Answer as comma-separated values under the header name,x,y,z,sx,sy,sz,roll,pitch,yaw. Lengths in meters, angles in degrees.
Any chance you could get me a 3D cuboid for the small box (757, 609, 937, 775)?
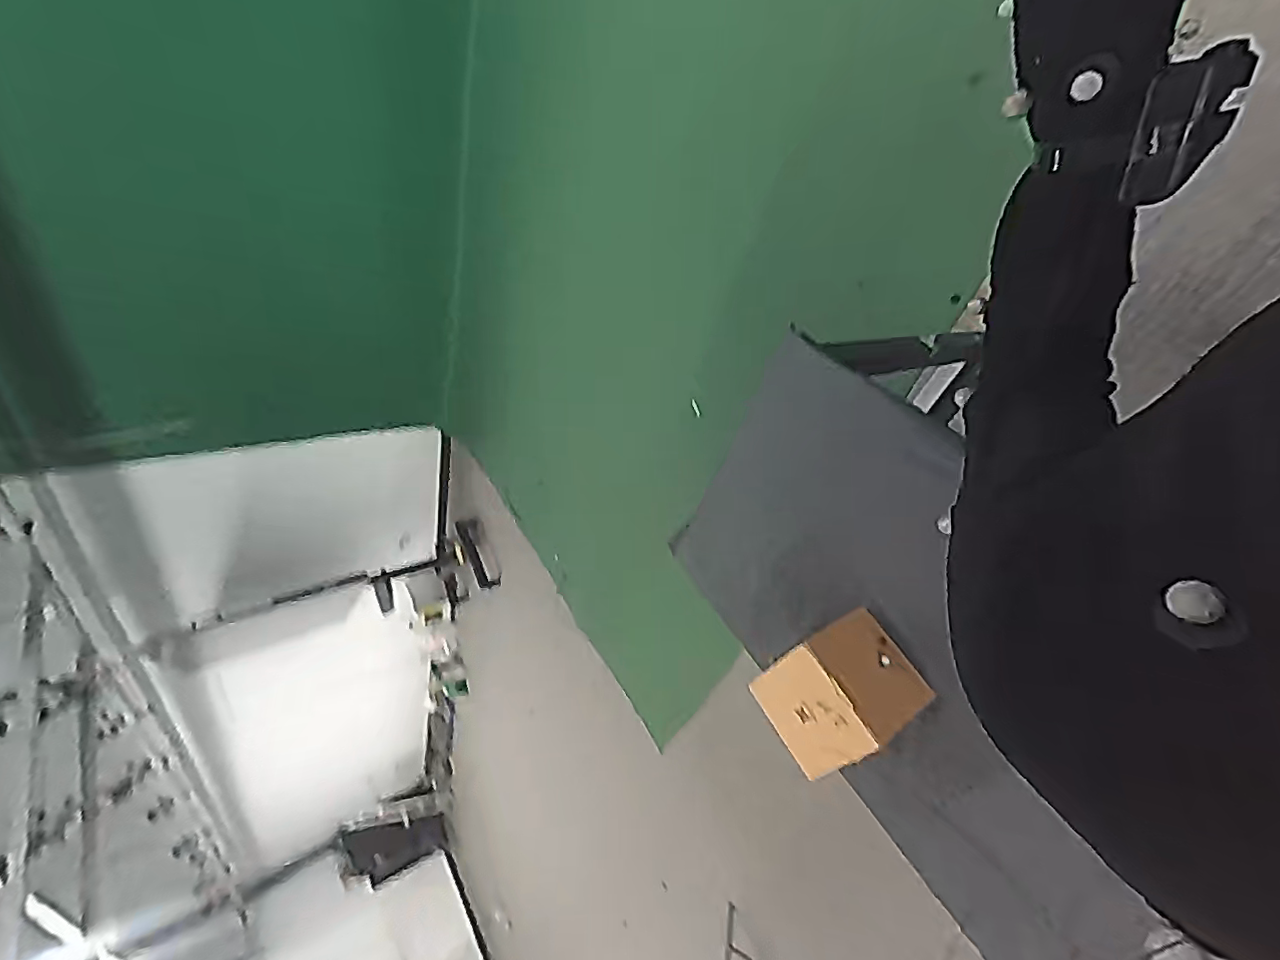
name,x,y,z,sx,sy,sz,roll,pitch,yaw
small box,0.332,0.338,0.875,0.168,0.176,0.179,56,139,26
